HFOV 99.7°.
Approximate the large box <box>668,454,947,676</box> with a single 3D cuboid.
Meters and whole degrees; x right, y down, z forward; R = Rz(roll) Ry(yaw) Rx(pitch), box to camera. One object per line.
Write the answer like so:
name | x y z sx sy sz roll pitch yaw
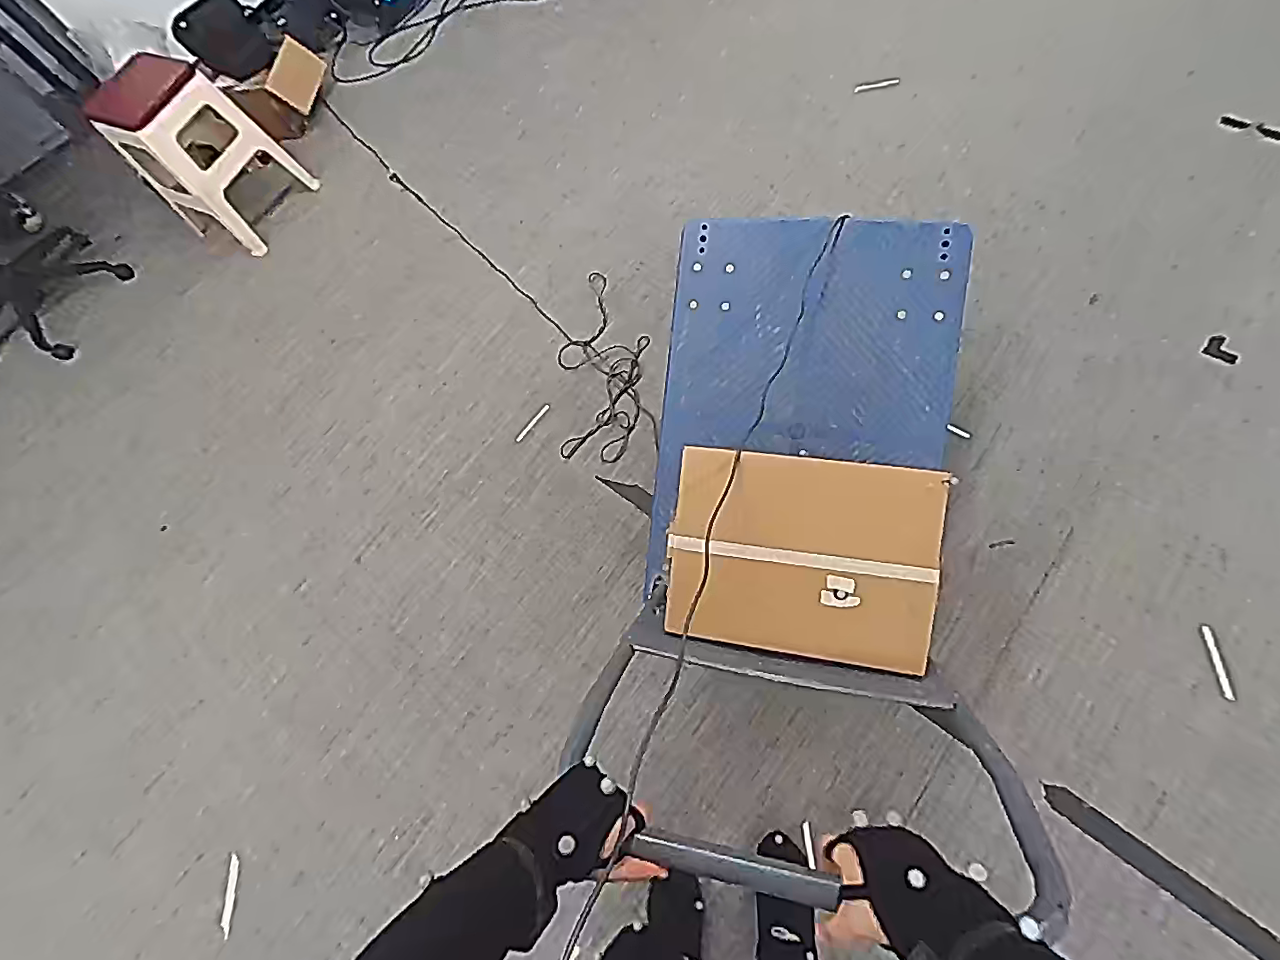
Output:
large box | 0.278 0.126 0.993 0.408 0.320 0.320 6 93 11
